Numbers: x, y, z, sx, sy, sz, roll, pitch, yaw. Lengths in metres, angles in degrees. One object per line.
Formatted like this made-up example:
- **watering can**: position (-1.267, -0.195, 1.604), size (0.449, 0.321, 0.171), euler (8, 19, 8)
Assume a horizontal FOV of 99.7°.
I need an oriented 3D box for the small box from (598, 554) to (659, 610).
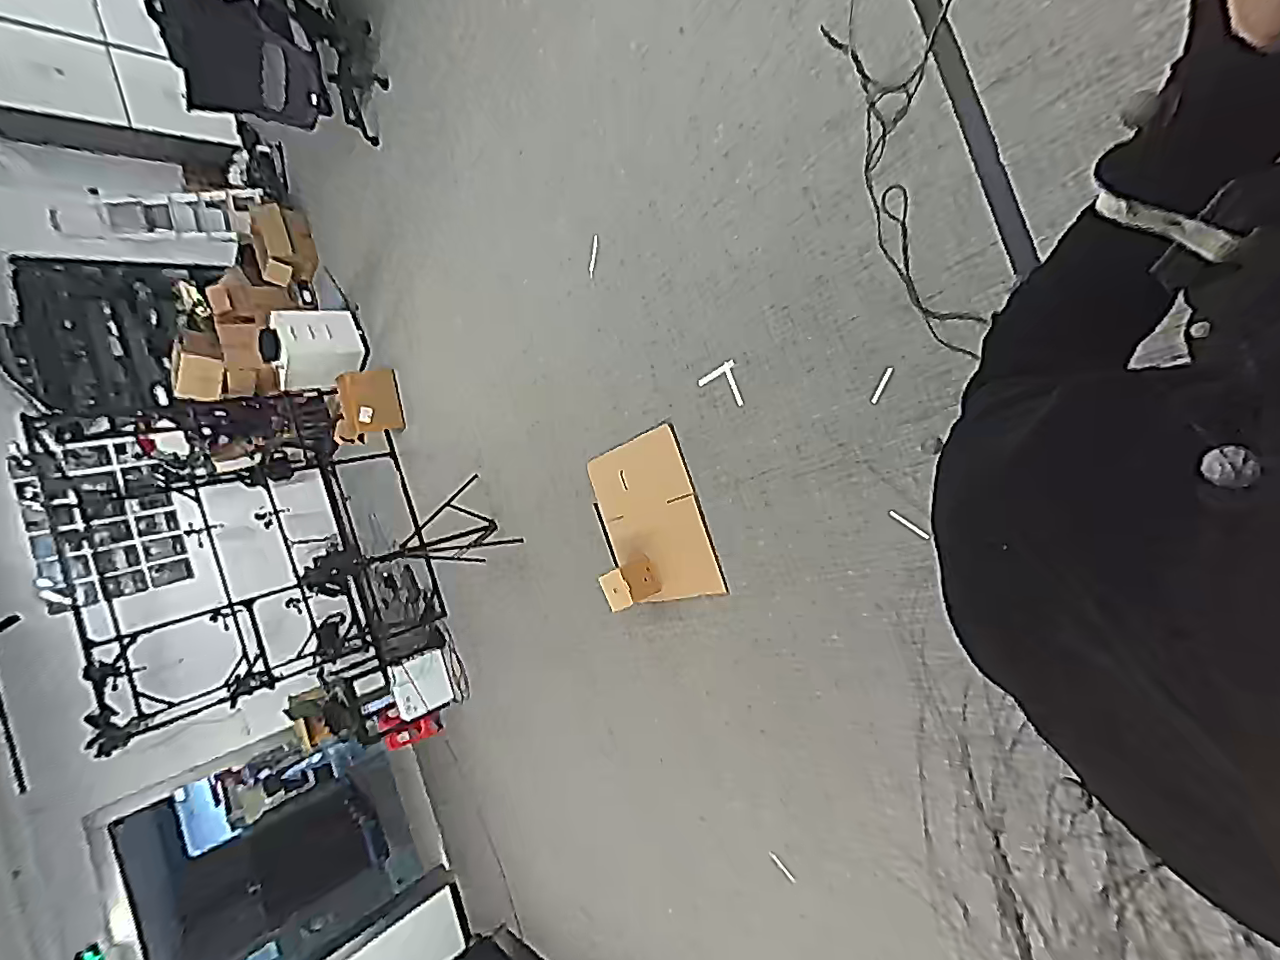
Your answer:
- **small box**: position (-0.049, 0.443, 2.354), size (0.179, 0.176, 0.168), euler (-36, 76, 47)
